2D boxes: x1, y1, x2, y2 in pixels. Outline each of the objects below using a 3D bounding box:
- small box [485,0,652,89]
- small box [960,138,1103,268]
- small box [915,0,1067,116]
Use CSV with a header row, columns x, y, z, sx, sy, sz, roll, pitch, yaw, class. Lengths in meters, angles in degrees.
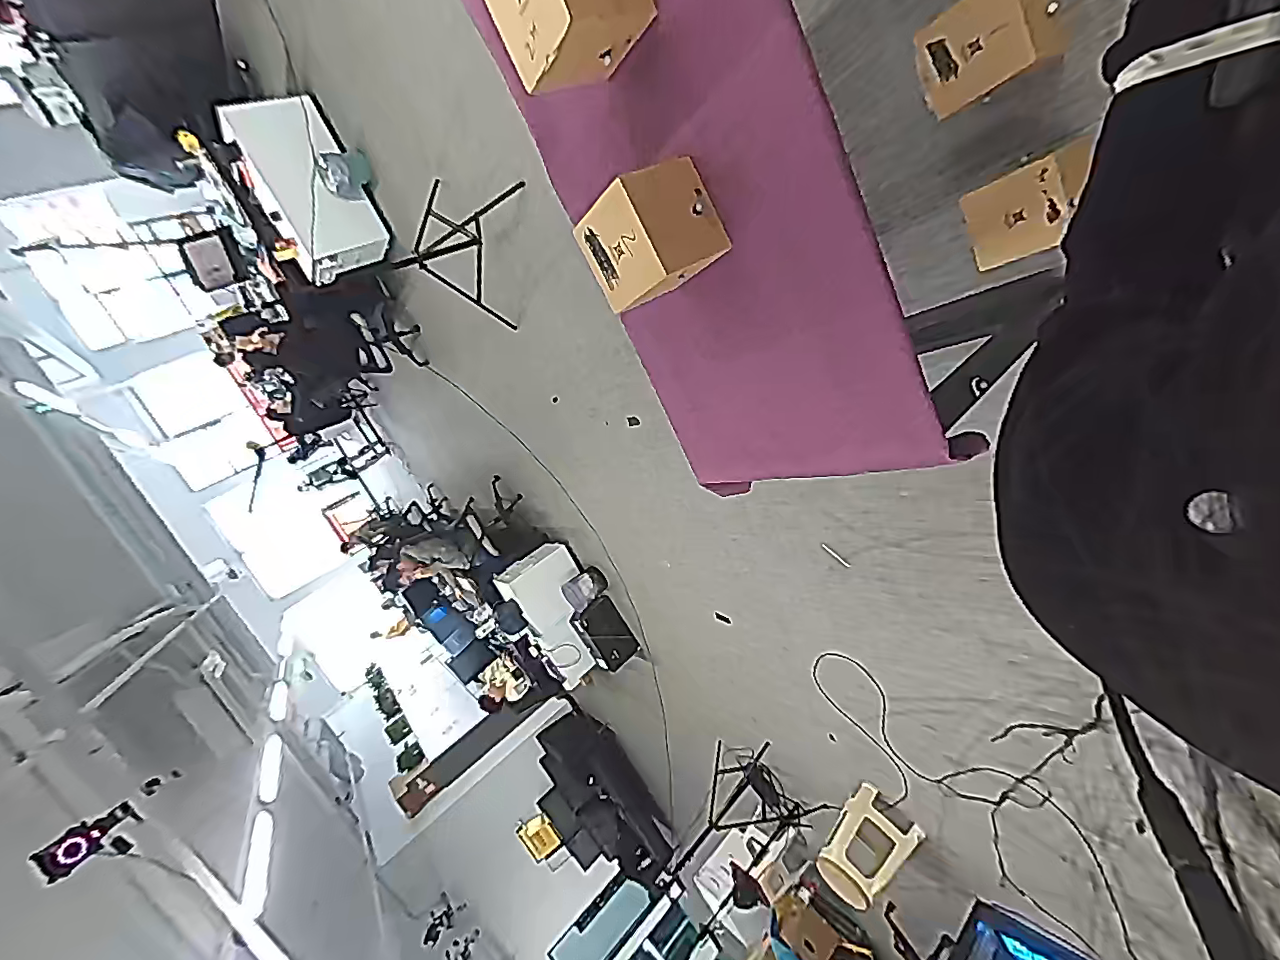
x,y,z,sx,sy,sz,roll,pitch,yaw,class
-0.114,-0.740,0.818,0.168,0.176,0.179,-2,119,58,small box
0.811,-0.571,1.121,0.179,0.176,0.168,-3,117,58,small box
0.675,-0.845,1.041,0.179,0.176,0.168,-7,114,57,small box
